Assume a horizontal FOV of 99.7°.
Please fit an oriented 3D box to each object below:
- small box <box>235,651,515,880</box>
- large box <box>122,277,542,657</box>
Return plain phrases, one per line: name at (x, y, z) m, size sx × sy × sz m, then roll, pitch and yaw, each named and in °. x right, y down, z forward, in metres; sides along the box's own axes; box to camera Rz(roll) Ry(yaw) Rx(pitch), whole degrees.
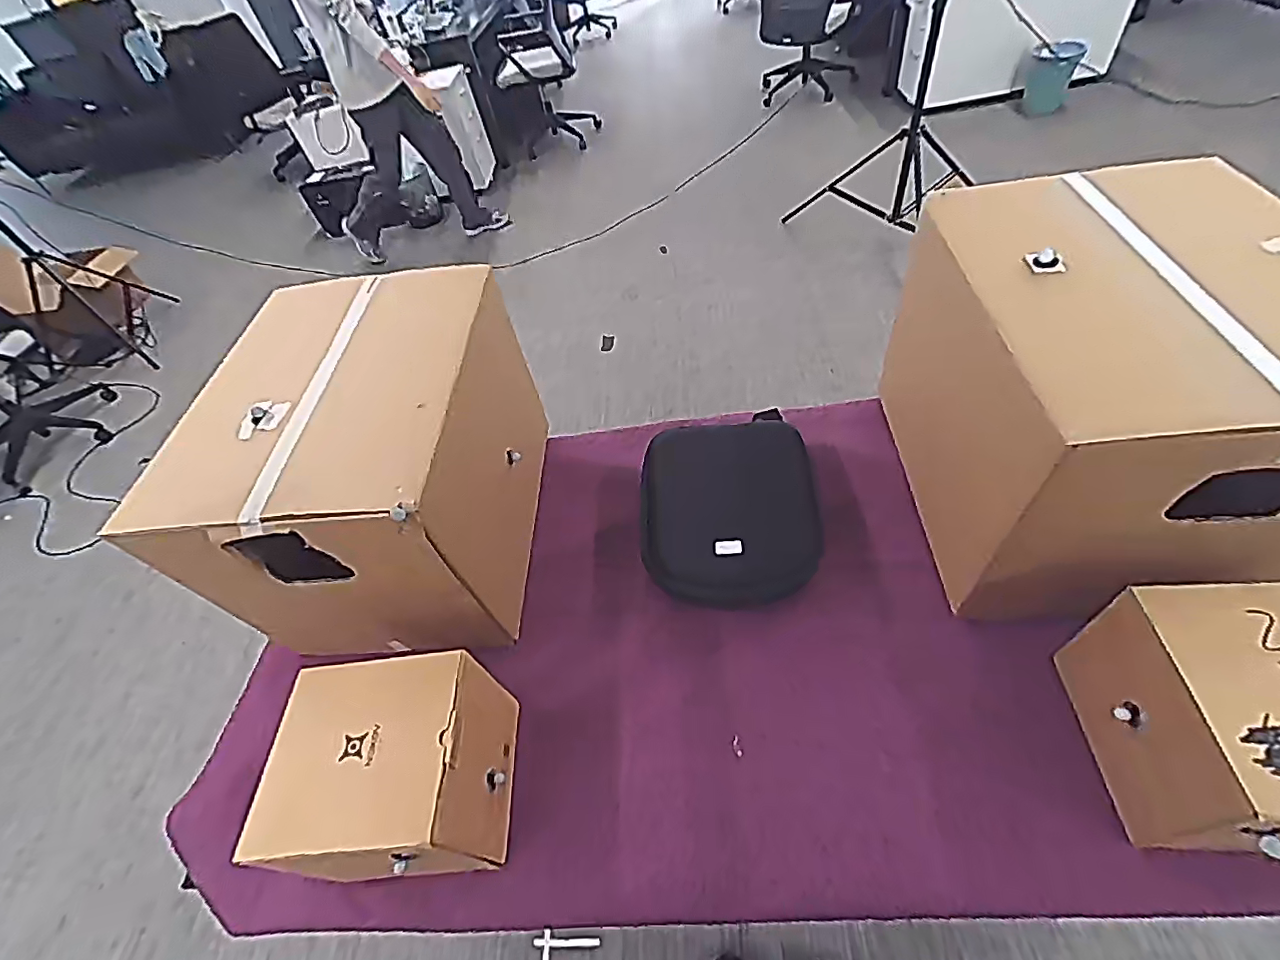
small box at (-0.246, 0.296, 0.555) m, size 0.179 × 0.176 × 0.168 m, roll -8°, pitch 49°, yaw 4°
large box at (-0.330, -0.014, 0.734) m, size 0.320 × 0.320 × 0.408 m, roll -6°, pitch 53°, yaw 6°
